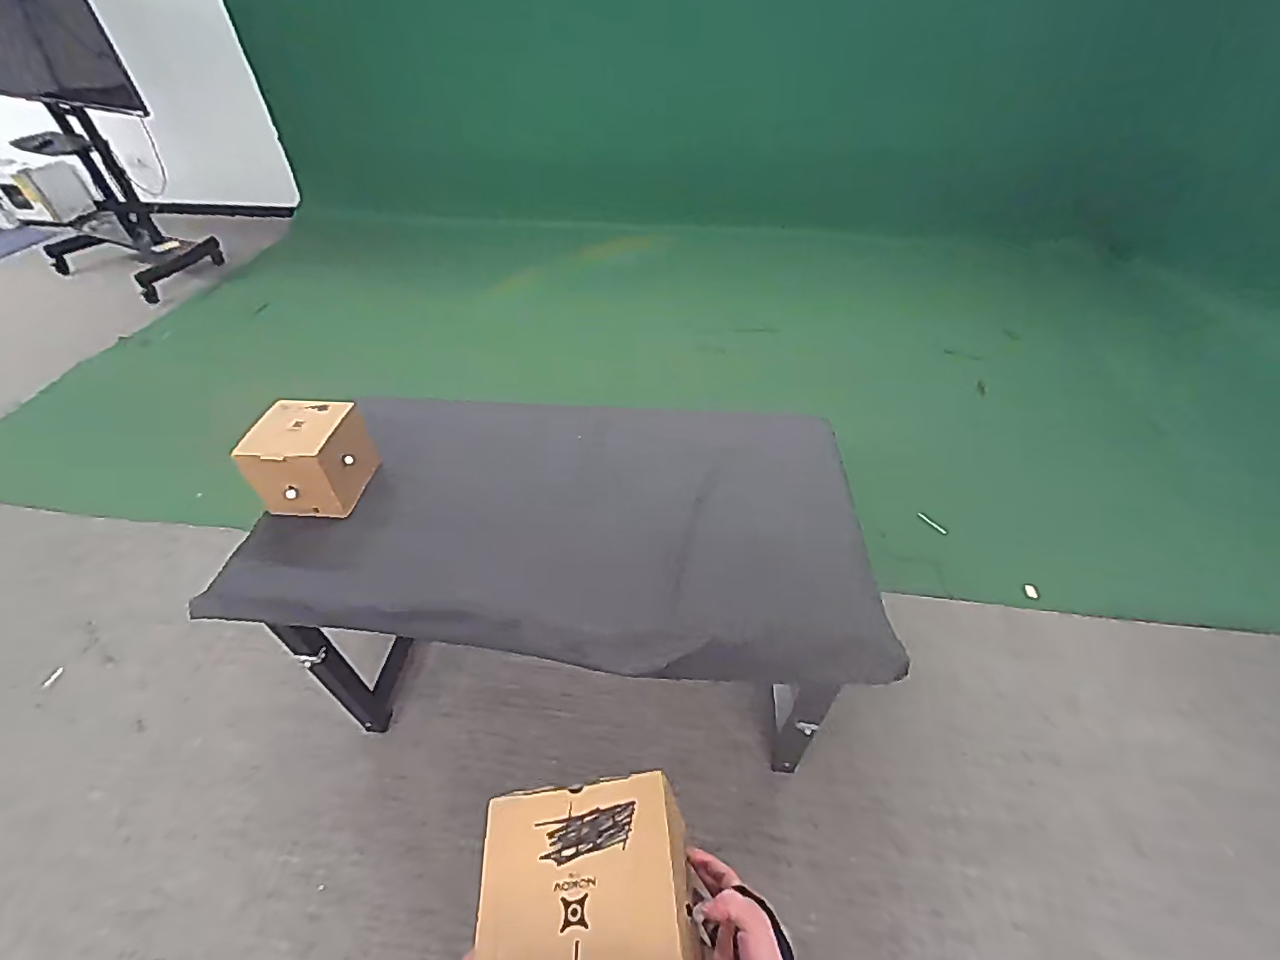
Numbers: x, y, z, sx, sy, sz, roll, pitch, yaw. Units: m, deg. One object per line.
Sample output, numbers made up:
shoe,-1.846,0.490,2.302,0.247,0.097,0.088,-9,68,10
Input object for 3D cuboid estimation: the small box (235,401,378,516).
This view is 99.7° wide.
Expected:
small box,-0.673,-0.043,1.121,0.168,0.176,0.179,3,45,1
